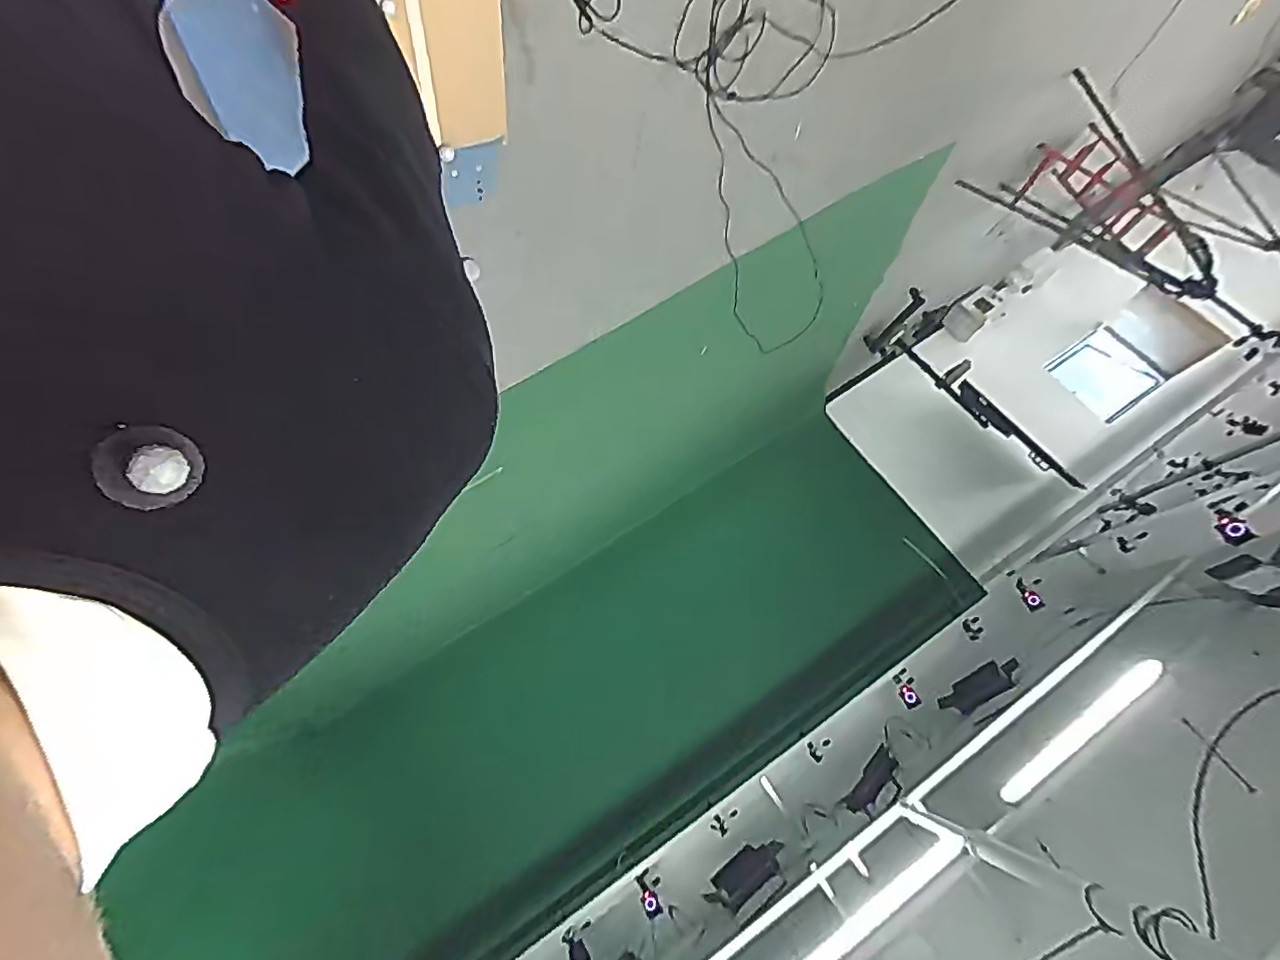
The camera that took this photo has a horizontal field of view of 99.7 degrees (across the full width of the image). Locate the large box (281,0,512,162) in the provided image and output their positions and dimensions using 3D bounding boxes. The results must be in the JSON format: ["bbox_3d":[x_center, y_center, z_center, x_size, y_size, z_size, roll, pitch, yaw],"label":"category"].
[{"bbox_3d":[-0.444,-0.867,0.942,0.320,0.320,0.408,-27,160,-22],"label":"large box"}]
